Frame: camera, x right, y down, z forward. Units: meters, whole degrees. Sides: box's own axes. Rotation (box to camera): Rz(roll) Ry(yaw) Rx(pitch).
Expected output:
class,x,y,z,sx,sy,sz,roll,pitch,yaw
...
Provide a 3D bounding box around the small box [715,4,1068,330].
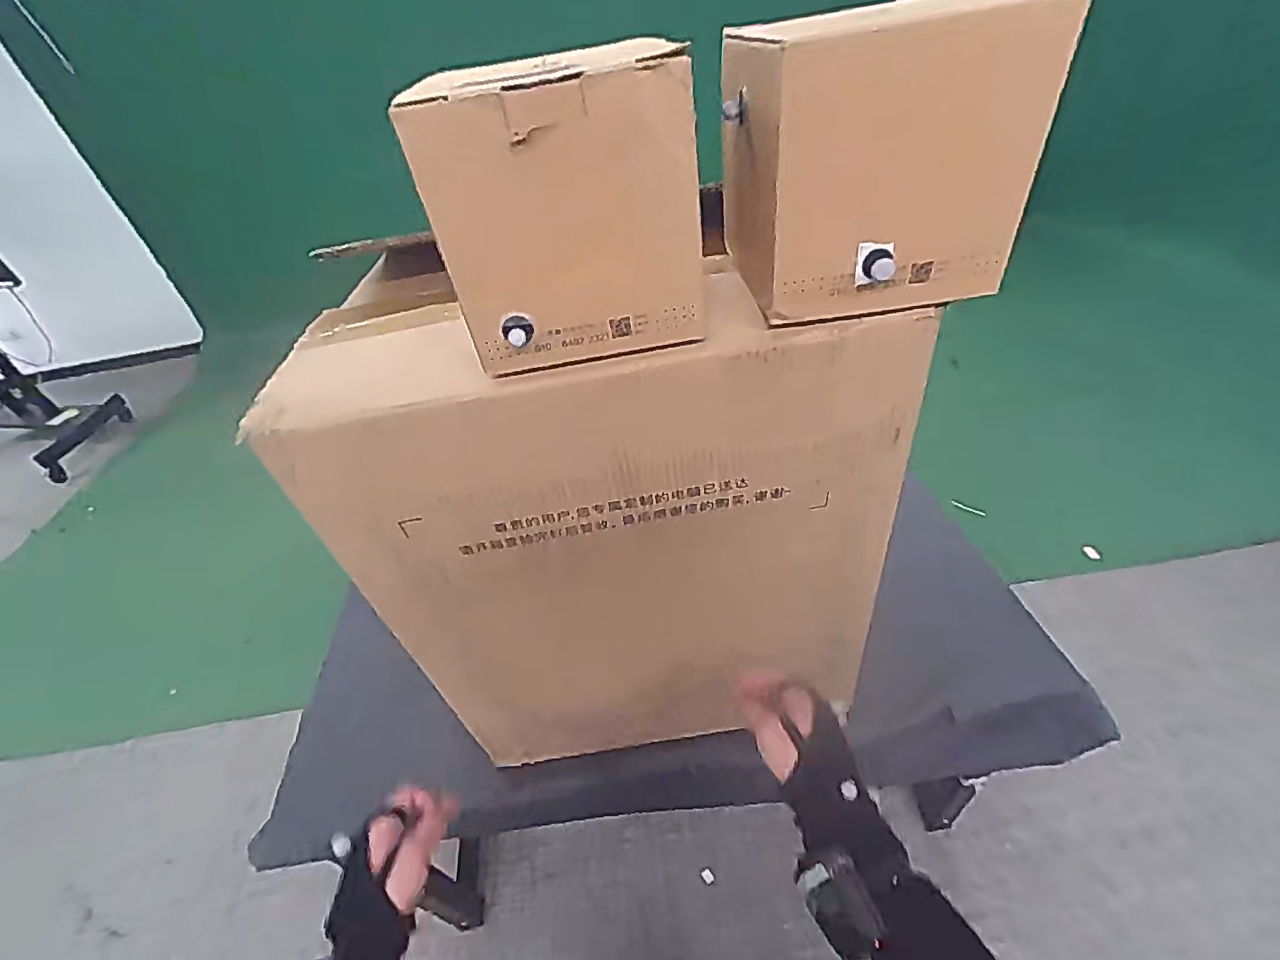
class,x,y,z,sx,sy,sz,roll,pitch,yaw
small box,0.156,-0.235,0.410,0.168,0.176,0.179,-11,42,0
